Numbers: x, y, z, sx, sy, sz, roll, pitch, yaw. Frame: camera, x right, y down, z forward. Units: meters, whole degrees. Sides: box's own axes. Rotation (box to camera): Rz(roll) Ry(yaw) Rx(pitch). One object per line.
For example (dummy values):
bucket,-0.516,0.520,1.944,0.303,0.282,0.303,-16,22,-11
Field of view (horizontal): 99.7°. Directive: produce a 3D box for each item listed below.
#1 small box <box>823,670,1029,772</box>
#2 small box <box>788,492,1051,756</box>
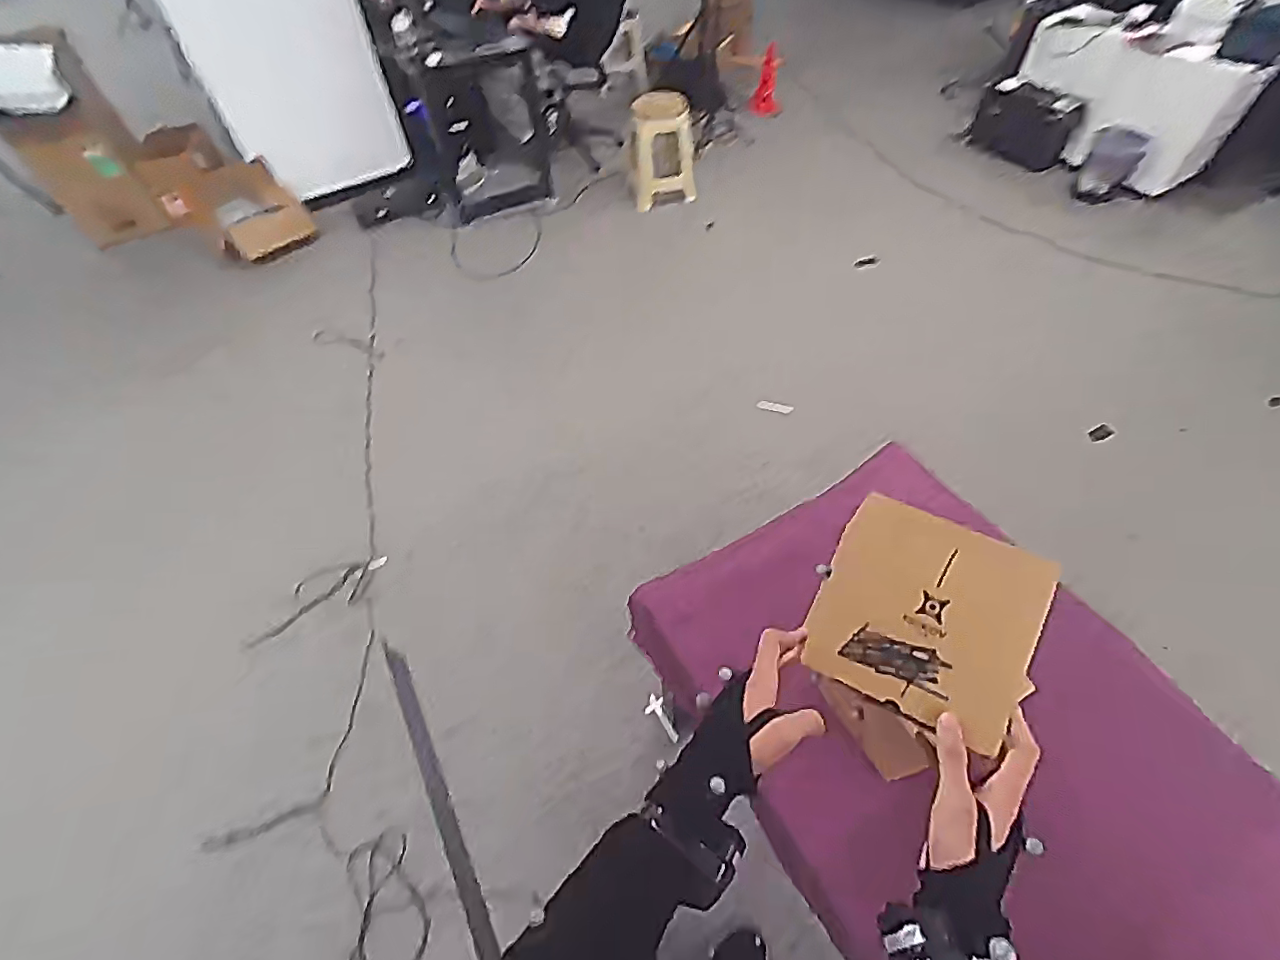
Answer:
small box,0.377,0.282,0.758,0.179,0.176,0.168,-24,58,-14
small box,0.260,0.139,0.546,0.168,0.176,0.179,24,80,17
